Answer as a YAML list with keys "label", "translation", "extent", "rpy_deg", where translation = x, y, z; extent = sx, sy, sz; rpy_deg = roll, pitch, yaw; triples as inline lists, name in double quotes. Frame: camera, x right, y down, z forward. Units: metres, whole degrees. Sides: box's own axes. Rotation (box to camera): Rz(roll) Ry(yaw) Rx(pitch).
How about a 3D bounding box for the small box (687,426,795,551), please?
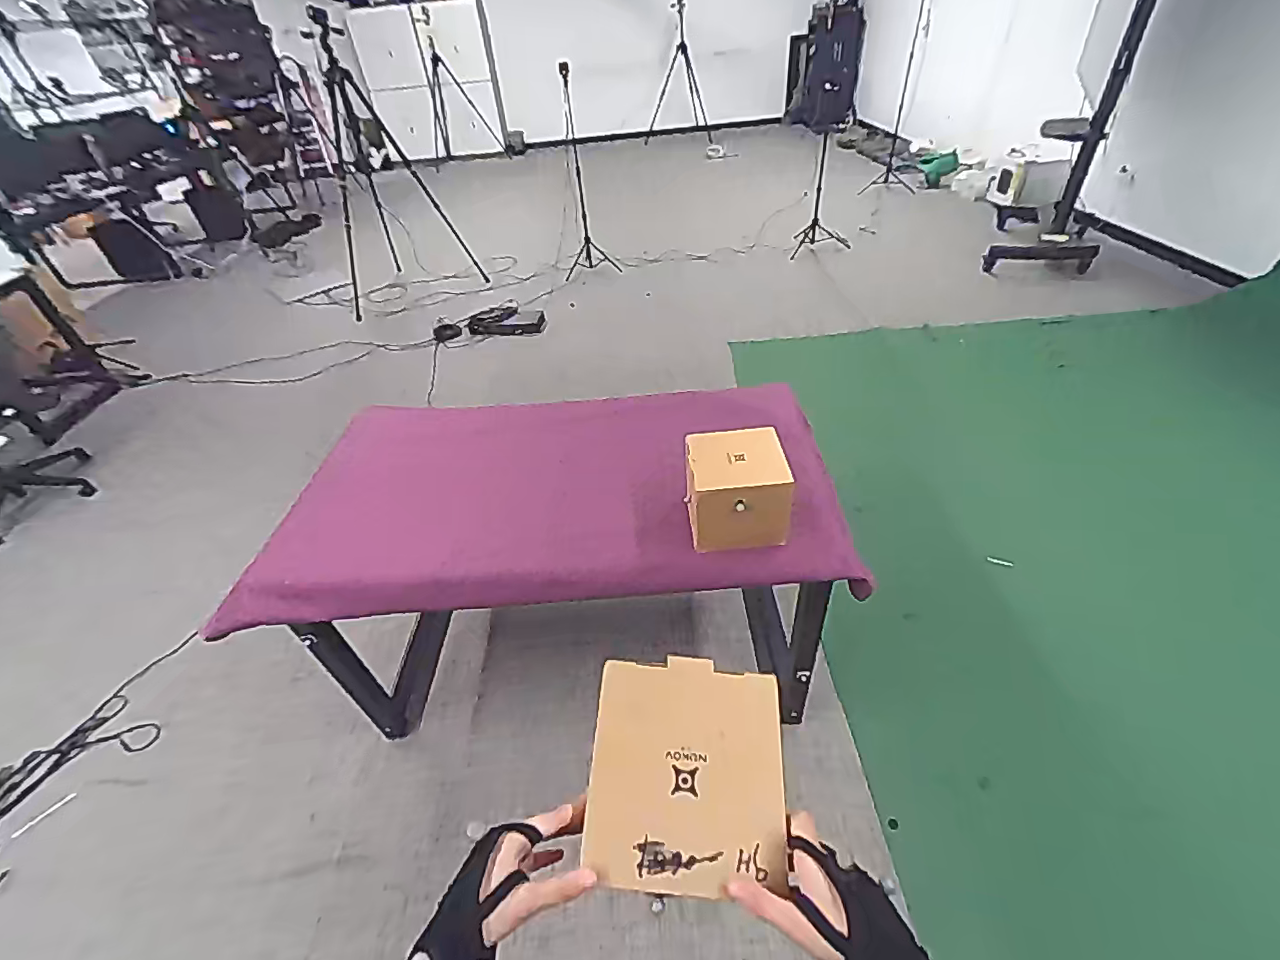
- label: "small box"
  translation: [0.189, 0.019, 1.052]
  extent: [0.179, 0.176, 0.168]
  rpy_deg: [-7, 42, 3]

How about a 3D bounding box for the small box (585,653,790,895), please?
- label: "small box"
  translation: [0.045, 0.291, 0.535]
  extent: [0.168, 0.176, 0.179]
  rpy_deg: [3, 55, 4]
